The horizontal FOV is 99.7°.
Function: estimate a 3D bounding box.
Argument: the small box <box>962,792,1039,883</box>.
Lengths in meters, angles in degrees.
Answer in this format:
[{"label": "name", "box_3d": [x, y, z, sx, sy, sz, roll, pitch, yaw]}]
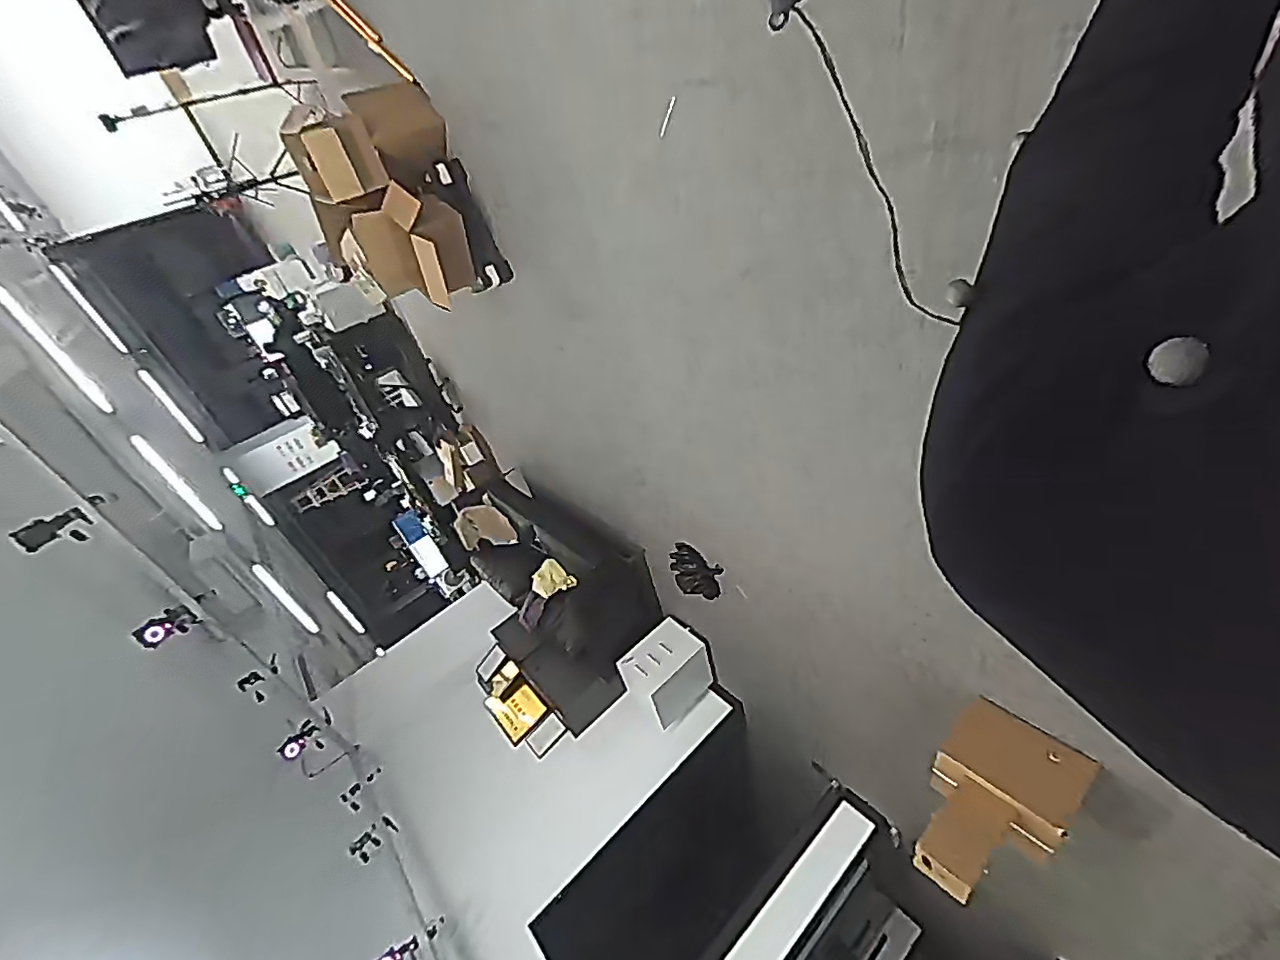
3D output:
[{"label": "small box", "box_3d": [1.247, 1.236, 1.880, 0.179, 0.176, 0.168, 29, 143, 47]}]

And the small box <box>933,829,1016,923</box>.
[{"label": "small box", "box_3d": [1.120, 1.315, 1.813, 0.179, 0.176, 0.168, 26, 142, 45]}]
